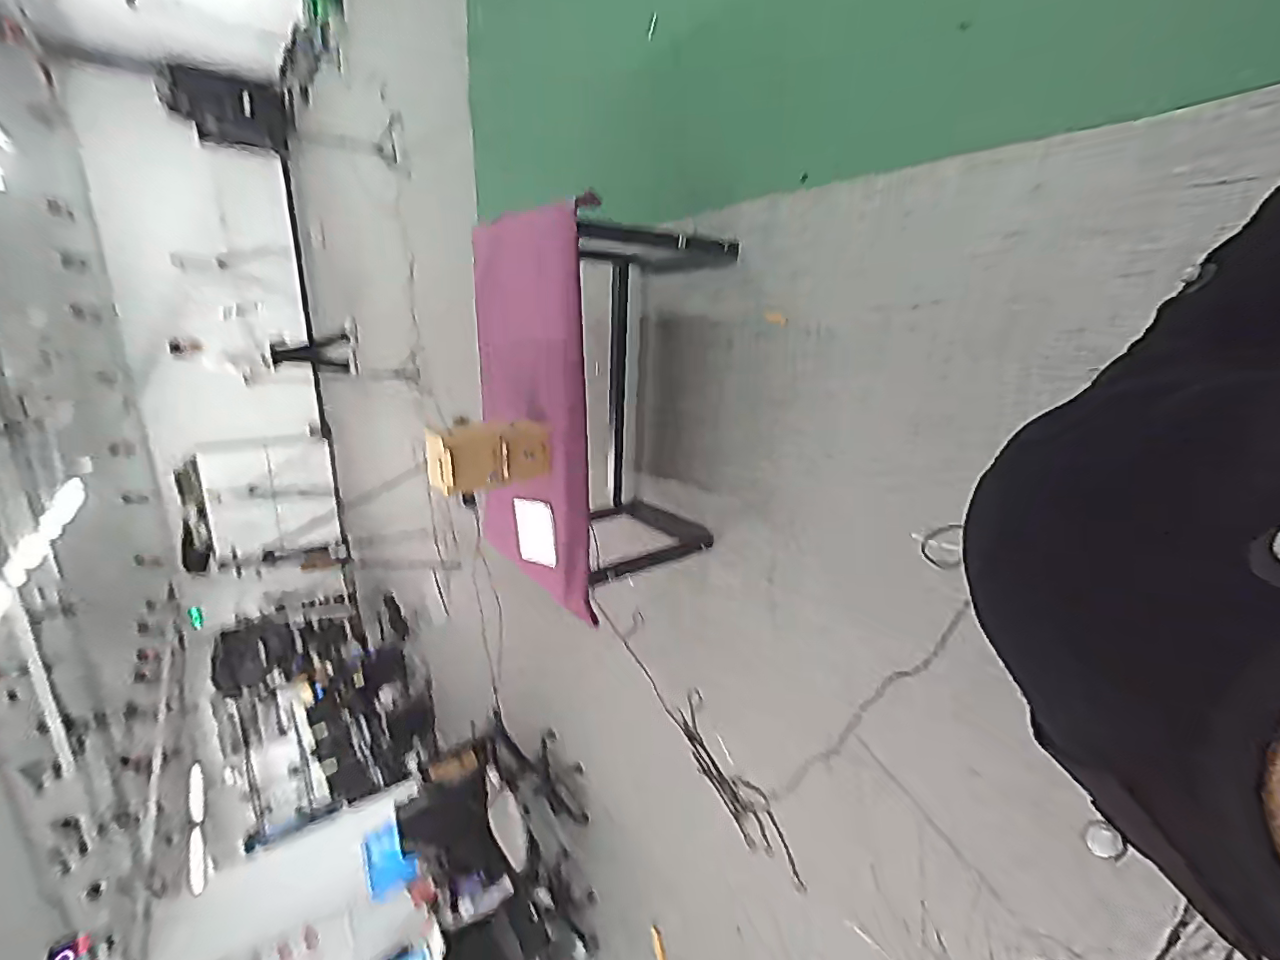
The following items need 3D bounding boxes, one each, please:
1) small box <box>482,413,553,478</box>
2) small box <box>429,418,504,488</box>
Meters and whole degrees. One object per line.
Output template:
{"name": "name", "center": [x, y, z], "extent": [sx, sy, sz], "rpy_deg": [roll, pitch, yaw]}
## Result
{"name": "small box", "center": [-0.390, -0.117, 1.728], "extent": [0.179, 0.176, 0.168], "rpy_deg": [22, 116, 48]}
{"name": "small box", "center": [-0.516, -0.090, 1.625], "extent": [0.179, 0.176, 0.168], "rpy_deg": [24, 117, 49]}
